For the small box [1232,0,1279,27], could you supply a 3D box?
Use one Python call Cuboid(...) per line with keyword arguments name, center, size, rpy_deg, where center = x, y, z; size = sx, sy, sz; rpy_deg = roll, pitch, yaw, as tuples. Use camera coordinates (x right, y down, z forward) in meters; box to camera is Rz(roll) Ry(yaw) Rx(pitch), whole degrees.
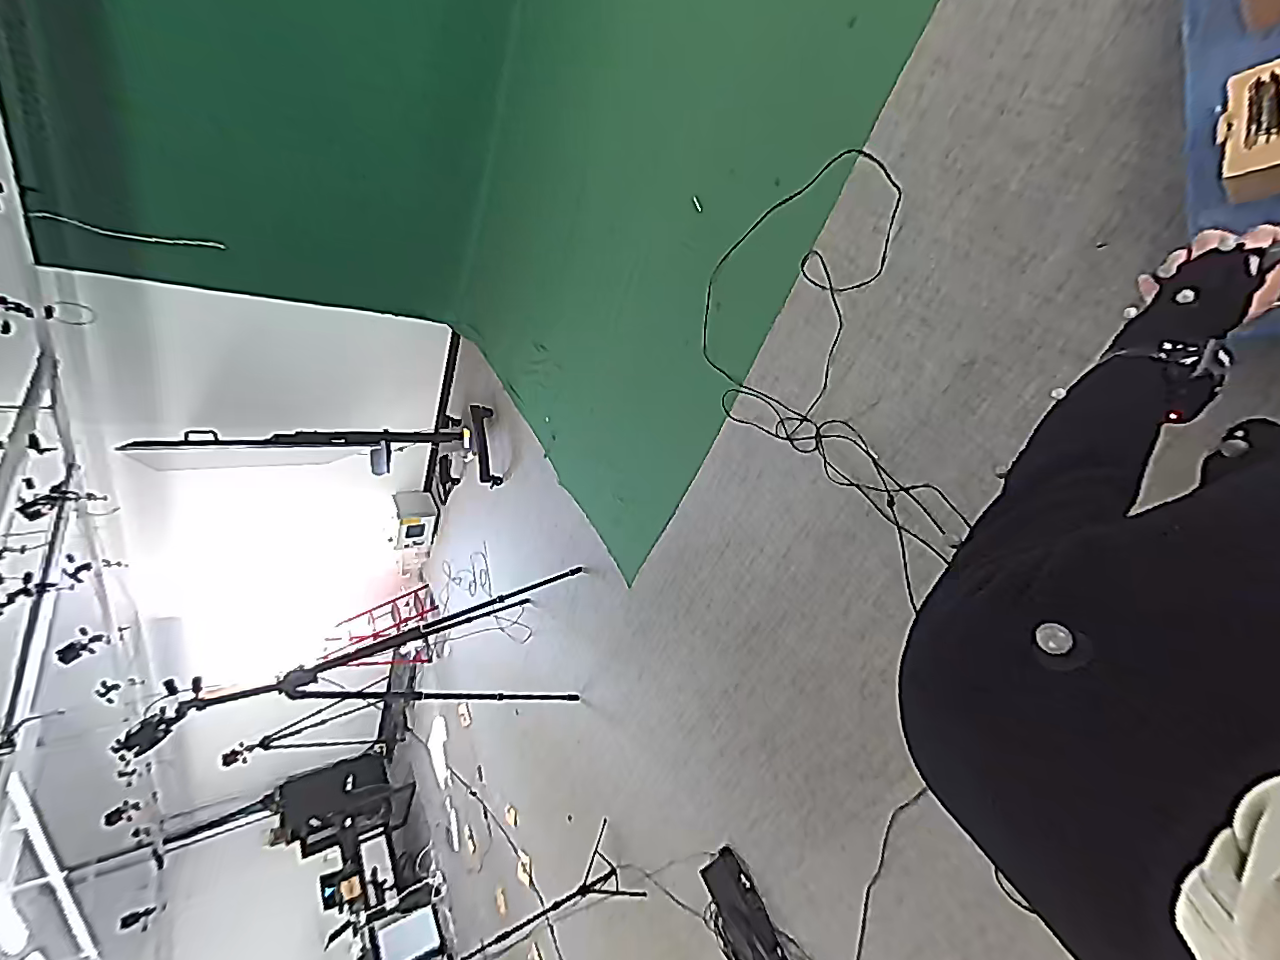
Cuboid(name="small box", center=(1.075, -0.887, 0.872), size=(0.168, 0.176, 0.179), rpy_deg=(-7, 87, 51))
